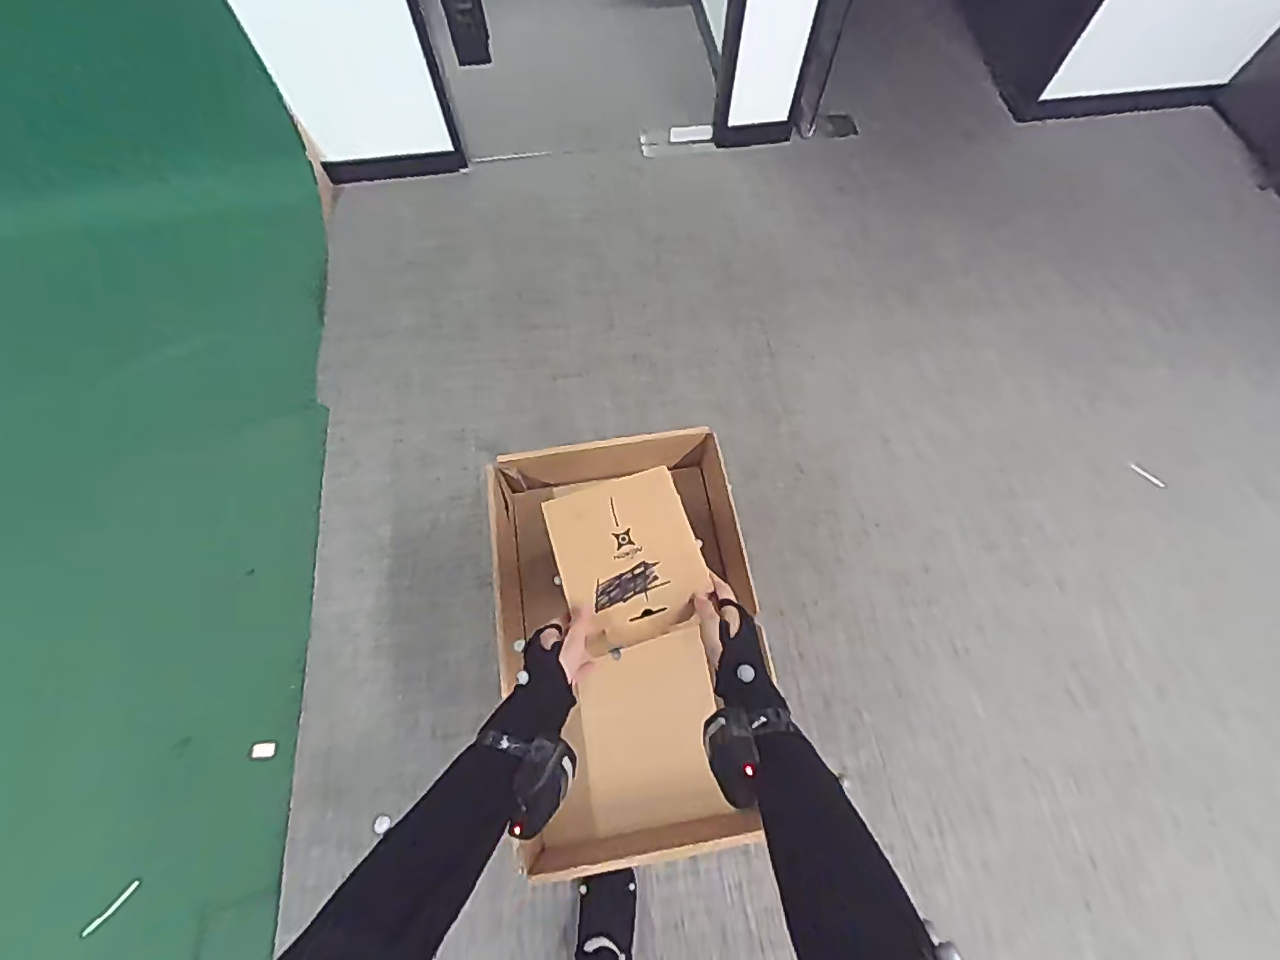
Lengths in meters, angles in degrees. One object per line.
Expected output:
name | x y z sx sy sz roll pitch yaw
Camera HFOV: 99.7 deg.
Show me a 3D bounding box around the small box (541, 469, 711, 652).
small box | -0.017 0.115 0.710 0.168 0.176 0.179 -17 65 -6
